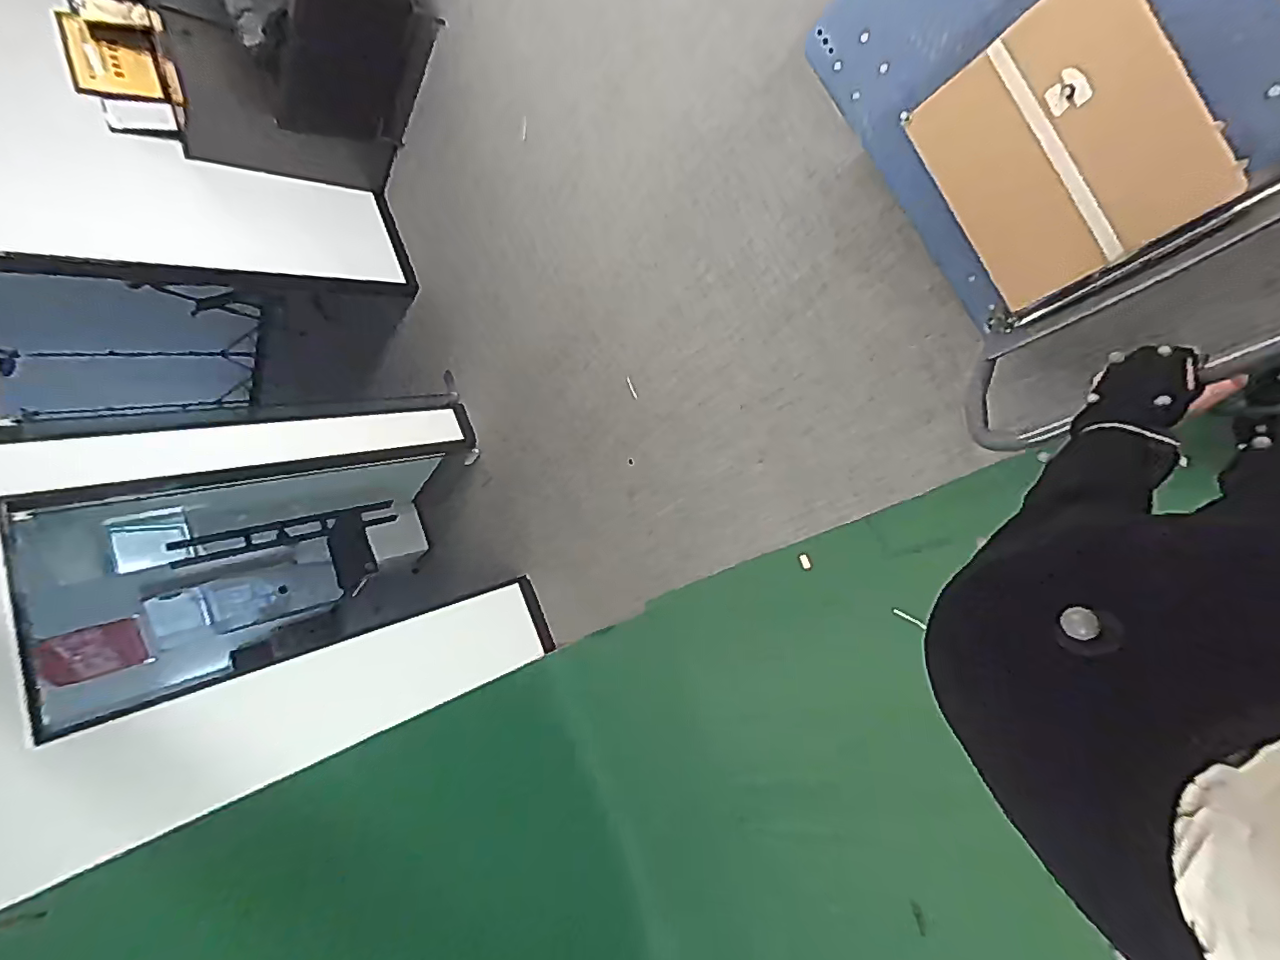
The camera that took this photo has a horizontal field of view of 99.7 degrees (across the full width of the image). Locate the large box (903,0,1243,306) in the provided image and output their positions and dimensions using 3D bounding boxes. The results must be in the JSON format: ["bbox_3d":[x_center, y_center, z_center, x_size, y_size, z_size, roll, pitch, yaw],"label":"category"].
[{"bbox_3d":[0.765,-0.592,0.985,0.320,0.320,0.408,-30,92,44],"label":"large box"}]
